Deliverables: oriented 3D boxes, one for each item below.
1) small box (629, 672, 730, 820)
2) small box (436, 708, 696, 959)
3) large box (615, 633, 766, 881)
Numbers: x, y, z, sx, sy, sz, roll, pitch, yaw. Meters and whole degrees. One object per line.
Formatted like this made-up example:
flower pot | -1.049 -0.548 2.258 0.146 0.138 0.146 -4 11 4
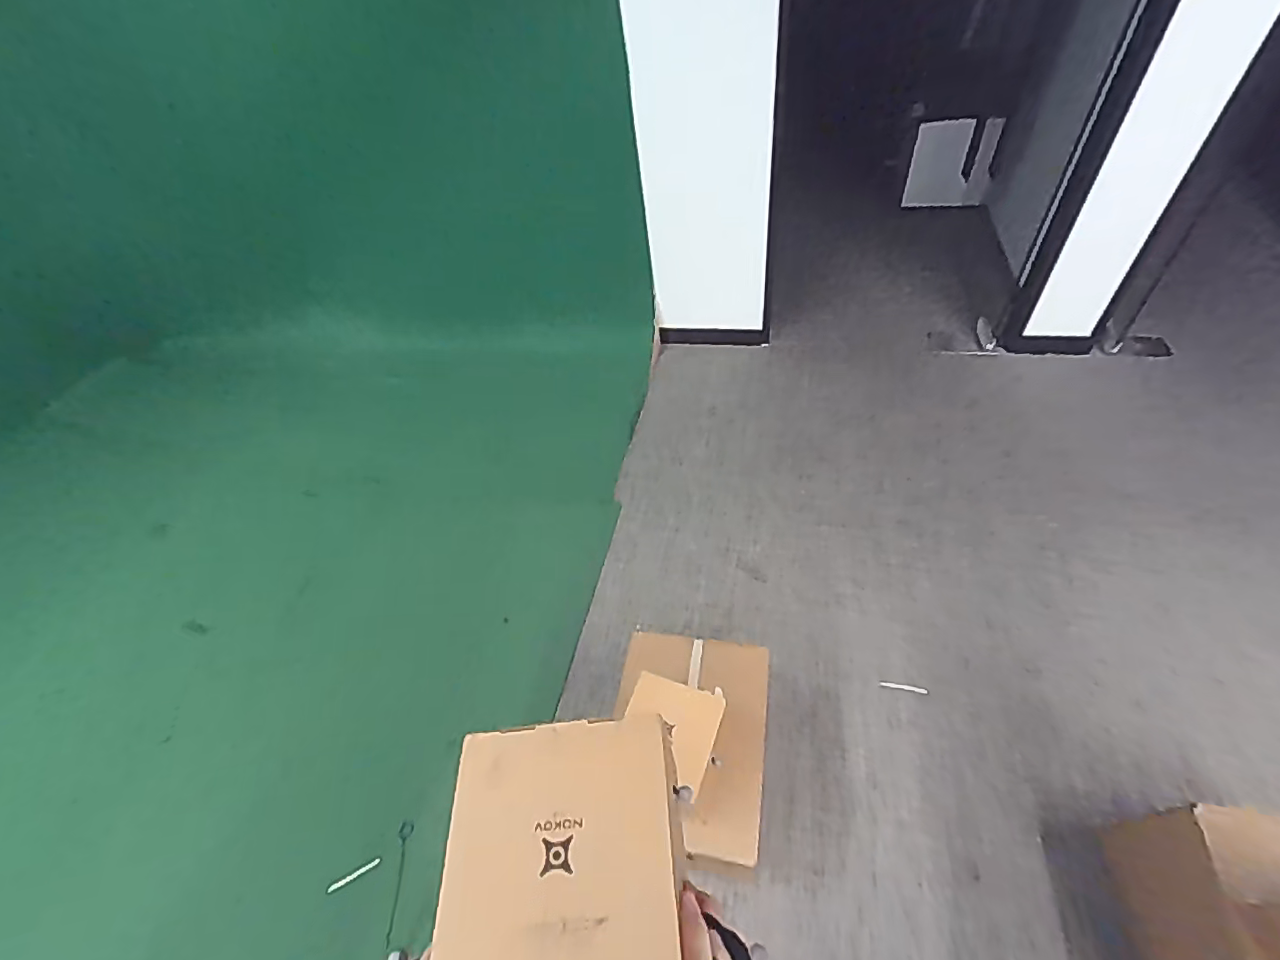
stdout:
small box | 0.062 0.489 0.995 0.168 0.176 0.179 12 53 22
small box | -0.046 0.315 0.452 0.168 0.176 0.179 -8 48 4
large box | 0.114 0.610 1.208 0.320 0.320 0.408 4 49 14
